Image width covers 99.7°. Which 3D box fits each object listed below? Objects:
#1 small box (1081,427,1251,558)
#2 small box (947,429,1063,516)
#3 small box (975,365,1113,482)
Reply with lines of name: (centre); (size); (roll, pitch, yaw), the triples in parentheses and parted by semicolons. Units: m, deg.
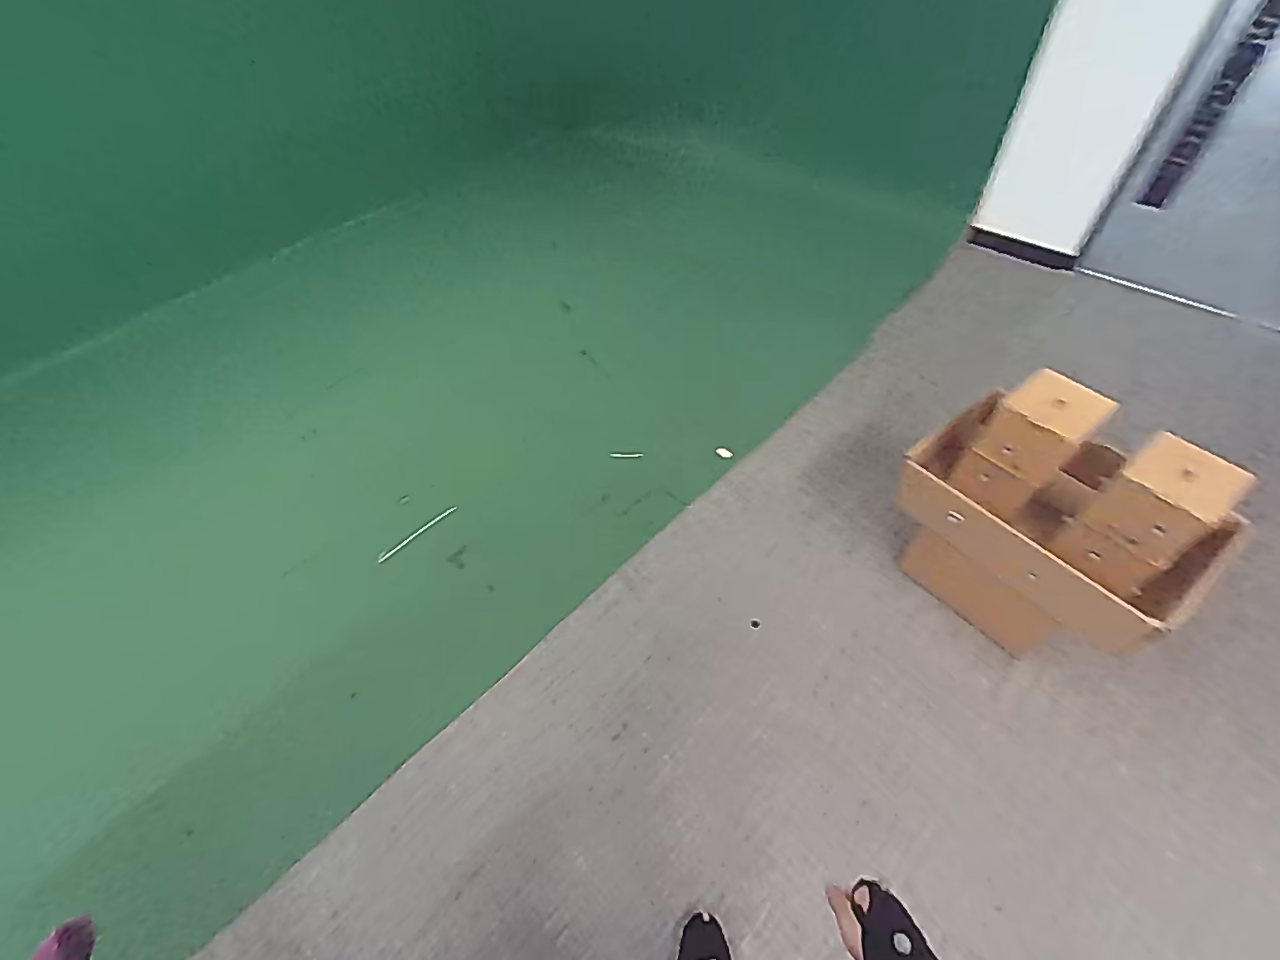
small box: (1.075, 0.030, 1.125); (0.179, 0.176, 0.168); (-33, 57, -18)
small box: (0.943, -0.039, 1.401); (0.168, 0.176, 0.179); (-33, 57, -18)
small box: (0.931, -0.130, 1.265); (0.179, 0.176, 0.168); (-34, 58, -18)
